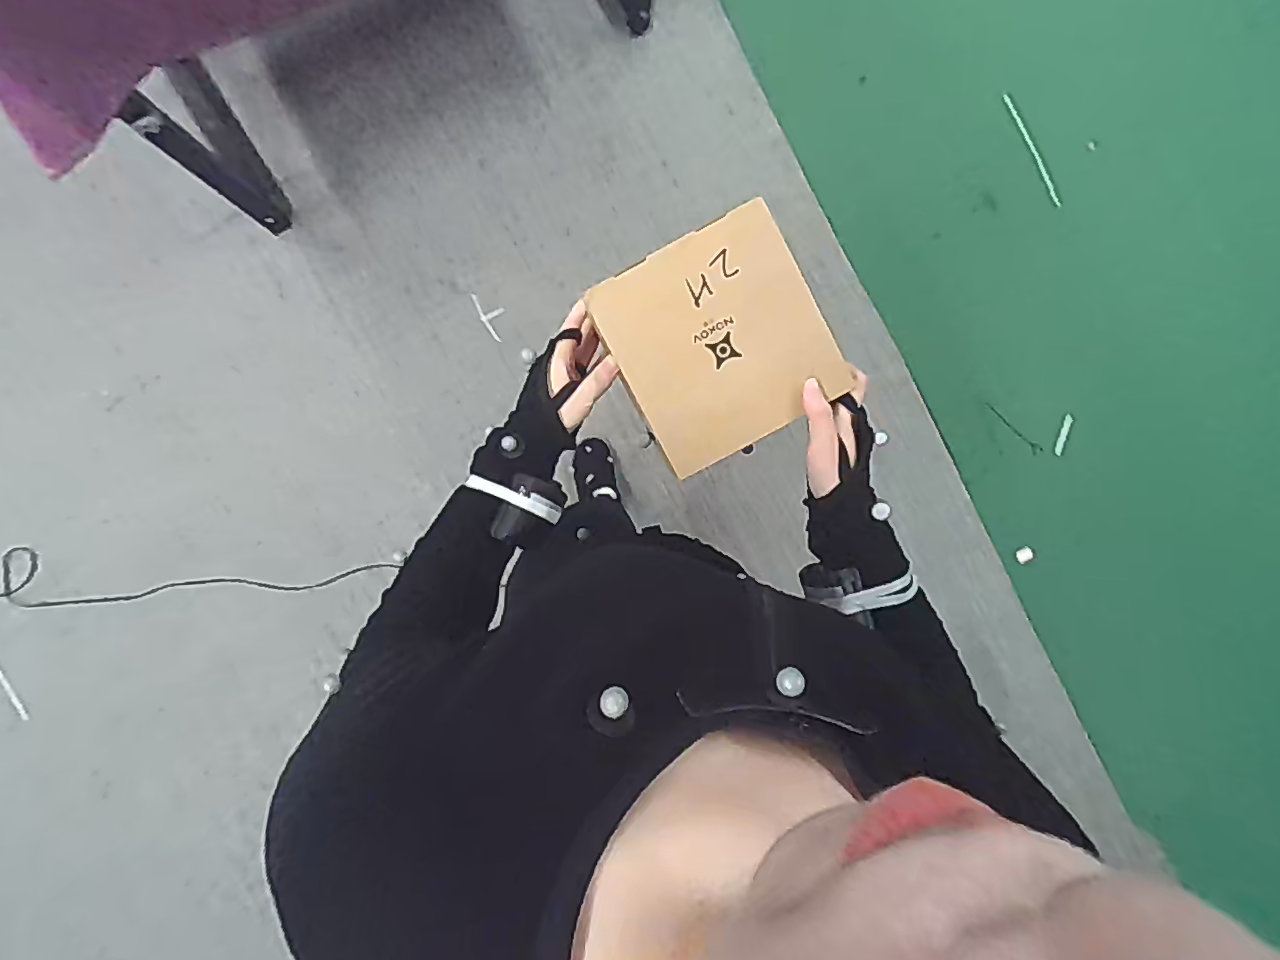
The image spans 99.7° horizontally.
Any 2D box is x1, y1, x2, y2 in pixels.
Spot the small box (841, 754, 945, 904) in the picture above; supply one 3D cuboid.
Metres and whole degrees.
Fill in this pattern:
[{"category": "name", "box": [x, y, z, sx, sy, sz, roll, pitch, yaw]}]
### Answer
[{"category": "small box", "box": [0.562, 0.738, 1.162, 0.179, 0.176, 0.168, -30, 95, -5]}]
